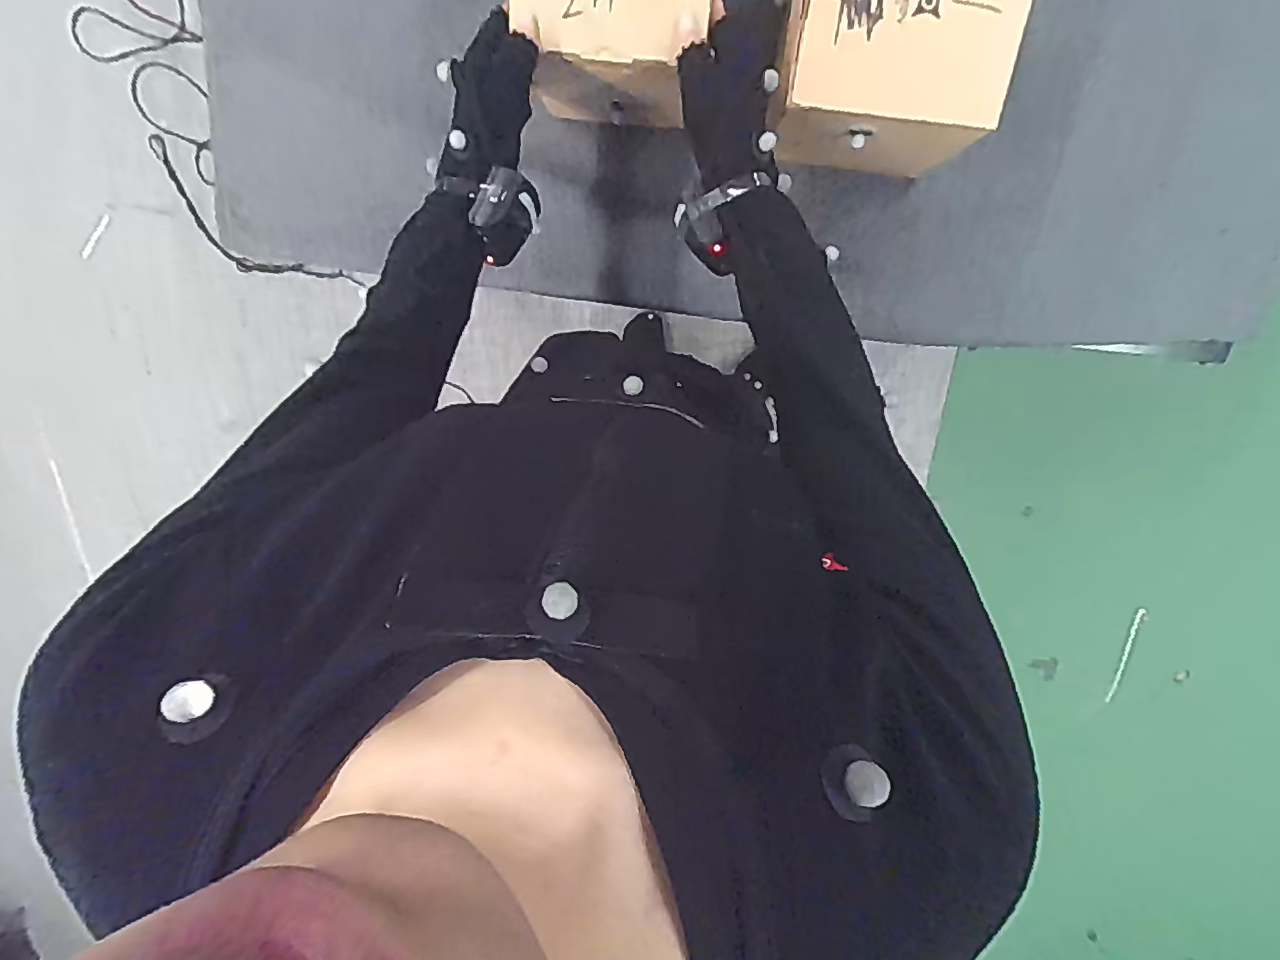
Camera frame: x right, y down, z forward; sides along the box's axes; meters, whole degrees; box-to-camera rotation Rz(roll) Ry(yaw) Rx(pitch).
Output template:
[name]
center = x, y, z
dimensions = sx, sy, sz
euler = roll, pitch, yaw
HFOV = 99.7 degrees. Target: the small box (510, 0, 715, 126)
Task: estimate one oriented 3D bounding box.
[small box]
center = -0.014, -0.461, 0.499
dimensions = 0.168, 0.176, 0.179
euler = 7, 108, 3
